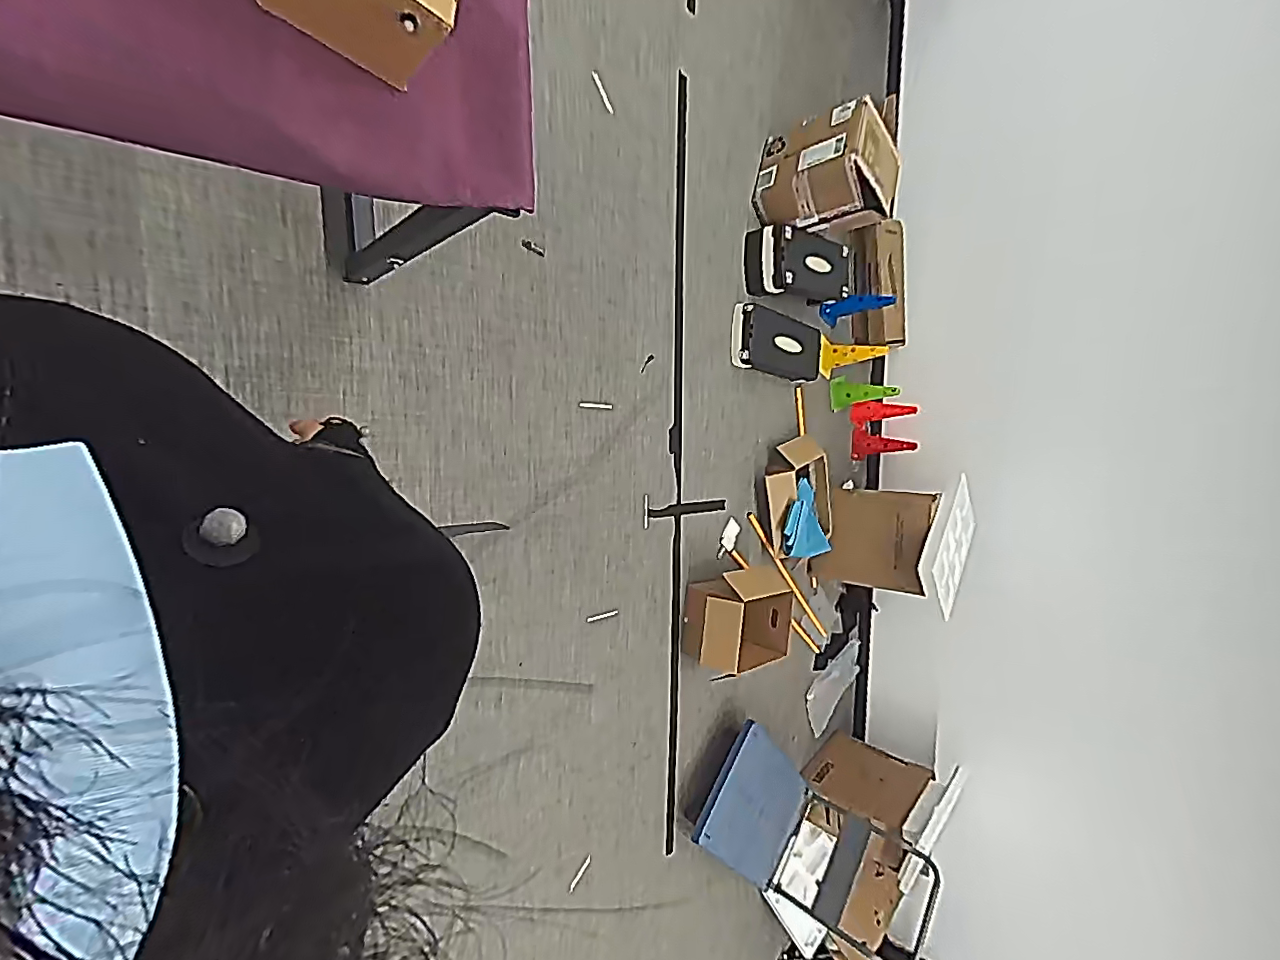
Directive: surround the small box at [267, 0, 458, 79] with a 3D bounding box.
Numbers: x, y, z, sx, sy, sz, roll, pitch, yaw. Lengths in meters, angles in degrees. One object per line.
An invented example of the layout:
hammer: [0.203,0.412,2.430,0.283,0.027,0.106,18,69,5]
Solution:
small box: [-0.323,-0.624,0.631,0.179,0.176,0.168,9,88,-44]
